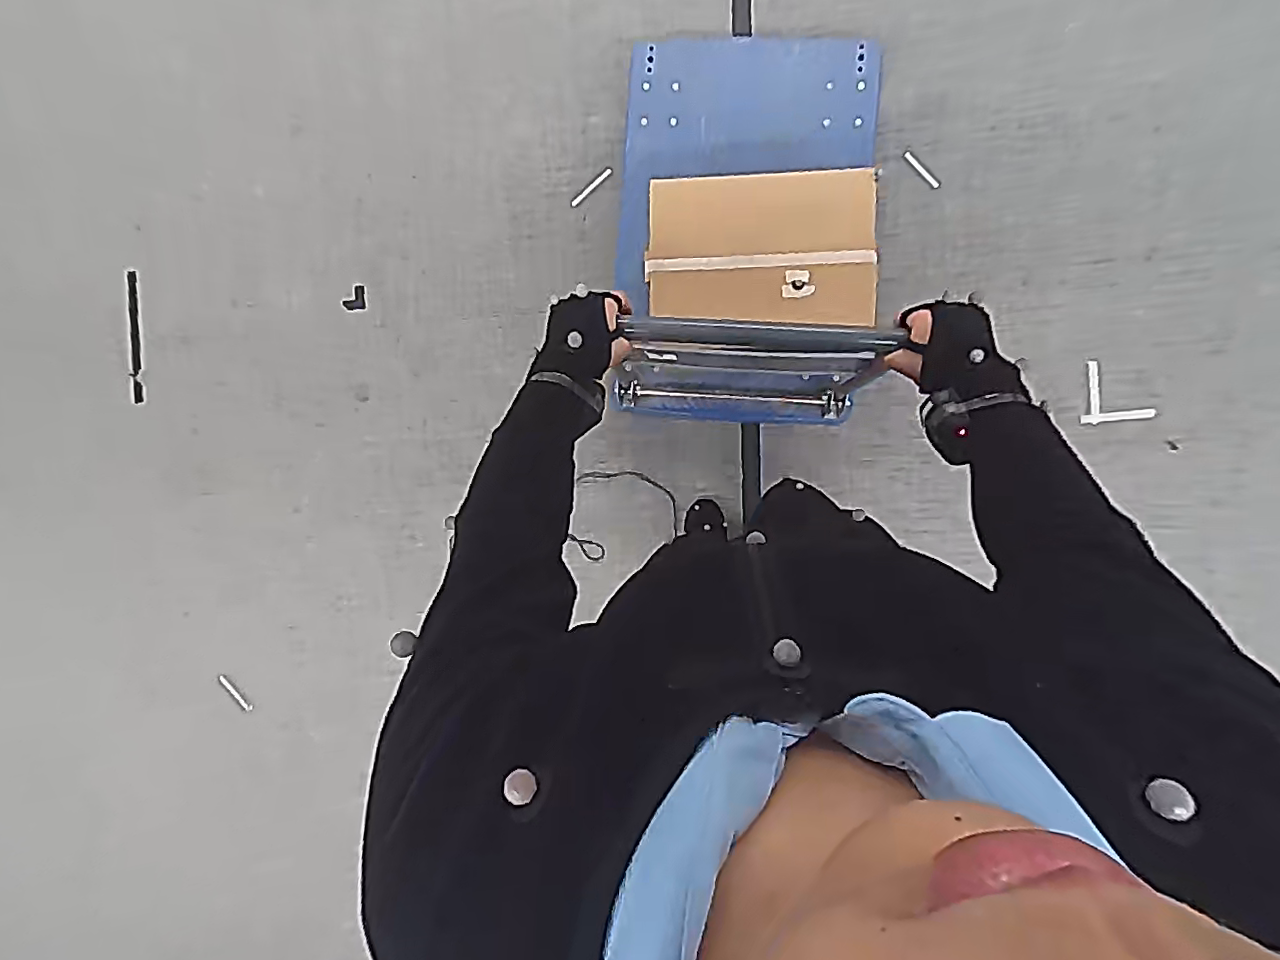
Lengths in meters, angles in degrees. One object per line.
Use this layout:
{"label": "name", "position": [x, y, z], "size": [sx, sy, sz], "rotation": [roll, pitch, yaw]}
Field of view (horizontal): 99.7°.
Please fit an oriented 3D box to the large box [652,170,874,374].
{"label": "large box", "position": [0.235, -0.406, 1.138], "size": [0.408, 0.320, 0.320], "rotation": [0, 93, 5]}
